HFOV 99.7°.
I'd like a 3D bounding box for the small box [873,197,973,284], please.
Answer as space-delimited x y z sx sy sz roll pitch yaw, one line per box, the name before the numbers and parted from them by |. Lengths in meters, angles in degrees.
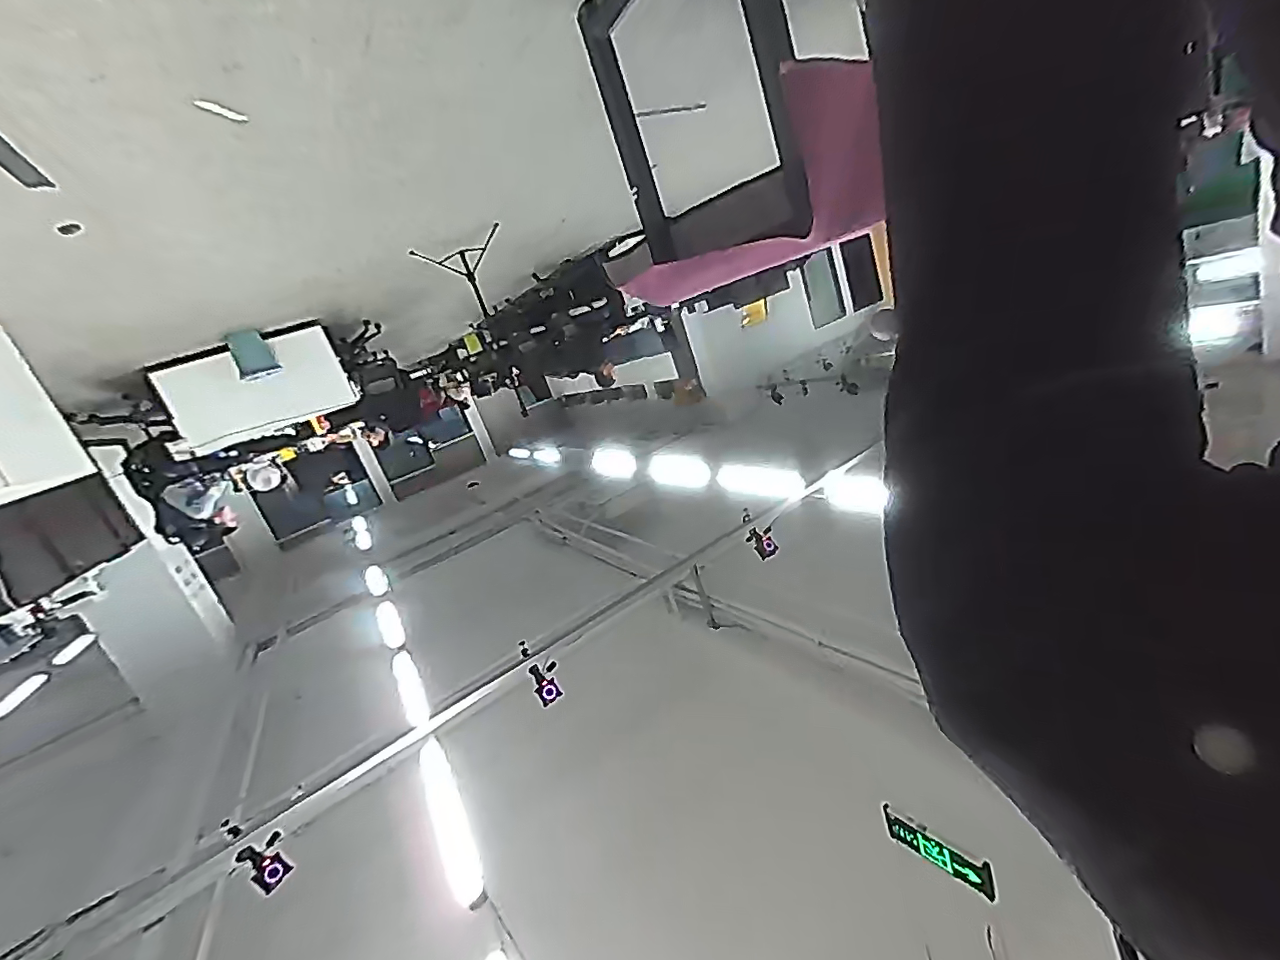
small box | 0.789 -0.671 1.514 0.179 0.176 0.168 -23 -164 -15
